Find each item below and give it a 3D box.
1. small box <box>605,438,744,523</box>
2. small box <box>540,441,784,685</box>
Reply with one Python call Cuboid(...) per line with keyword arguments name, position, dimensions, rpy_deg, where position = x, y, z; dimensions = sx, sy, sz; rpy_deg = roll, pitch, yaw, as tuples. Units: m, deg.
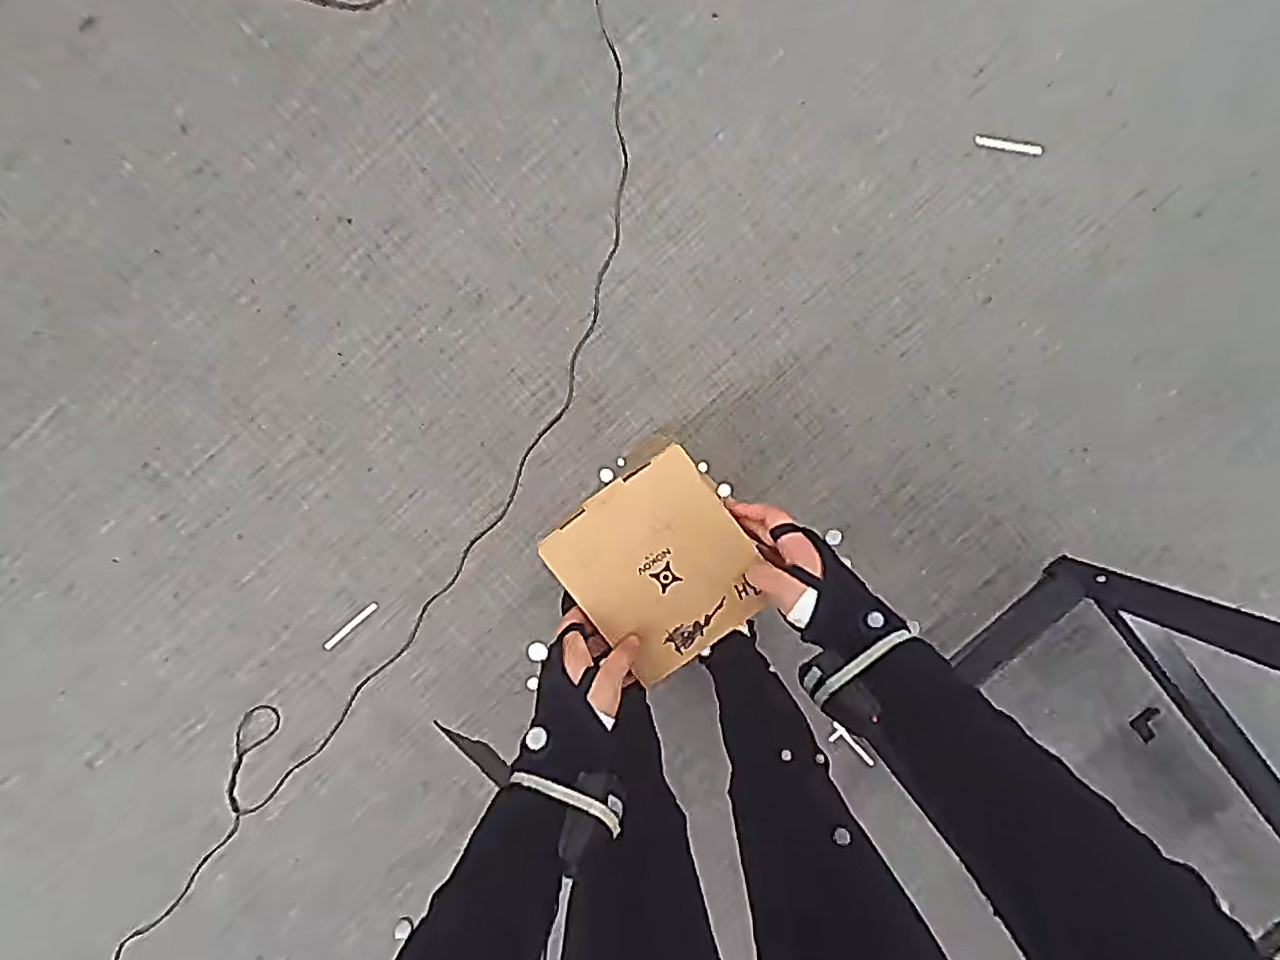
Cuboid(name="small box", position=(0.030, 0.050, 0.847), dimensions=(0.168, 0.176, 0.179), rpy_deg=(41, 92, -7))
Cuboid(name="small box", position=(0.022, 0.074, 0.581), dimensions=(0.168, 0.176, 0.179), rpy_deg=(-37, 94, 6))
